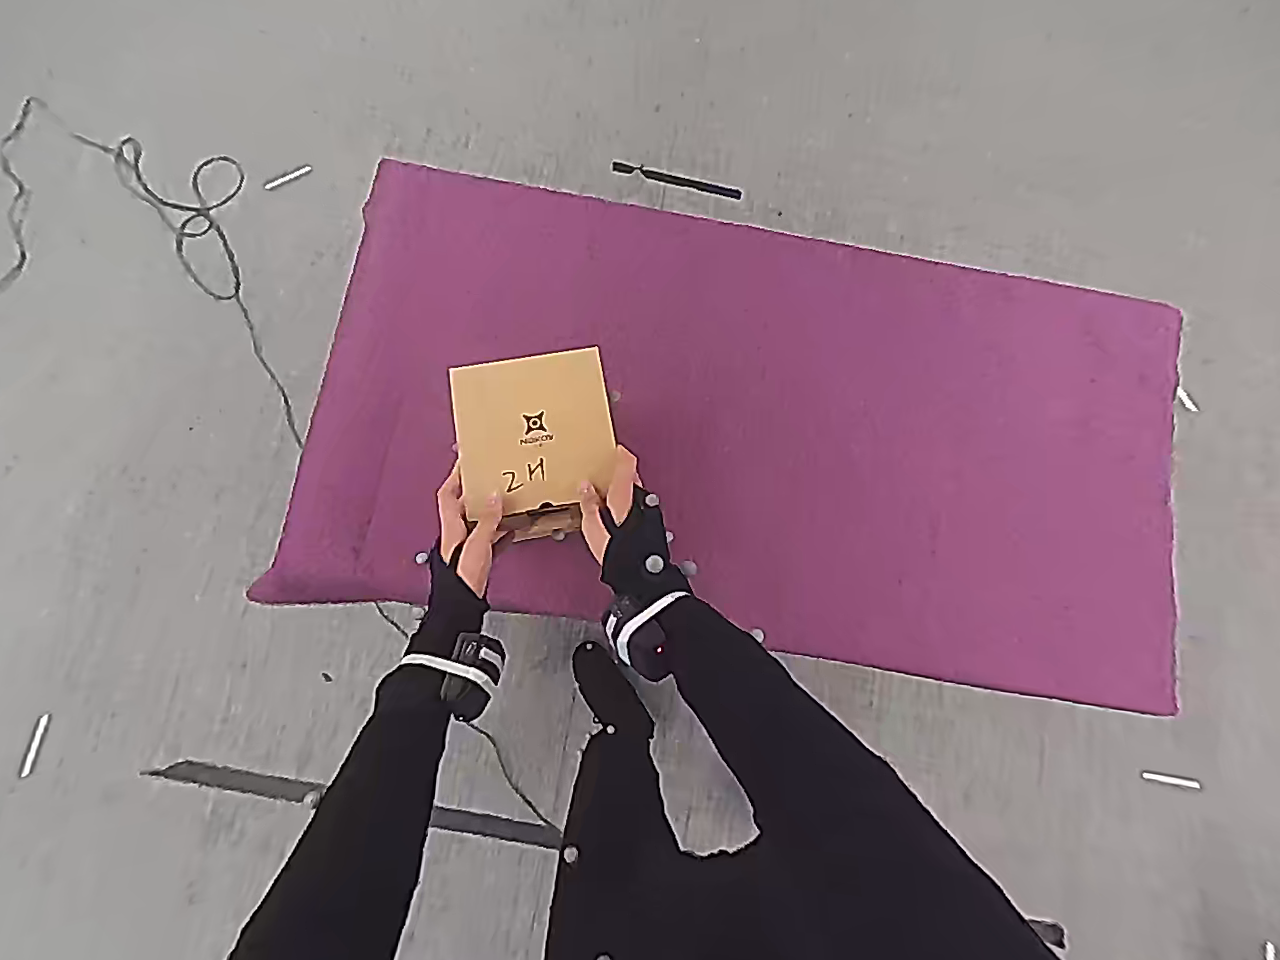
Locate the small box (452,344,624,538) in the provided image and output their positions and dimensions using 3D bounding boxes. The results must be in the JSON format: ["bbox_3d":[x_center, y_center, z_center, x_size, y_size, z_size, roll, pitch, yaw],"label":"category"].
[{"bbox_3d":[-0.115,-0.037,0.646,0.168,0.176,0.179,-9,77,-5],"label":"small box"}]
